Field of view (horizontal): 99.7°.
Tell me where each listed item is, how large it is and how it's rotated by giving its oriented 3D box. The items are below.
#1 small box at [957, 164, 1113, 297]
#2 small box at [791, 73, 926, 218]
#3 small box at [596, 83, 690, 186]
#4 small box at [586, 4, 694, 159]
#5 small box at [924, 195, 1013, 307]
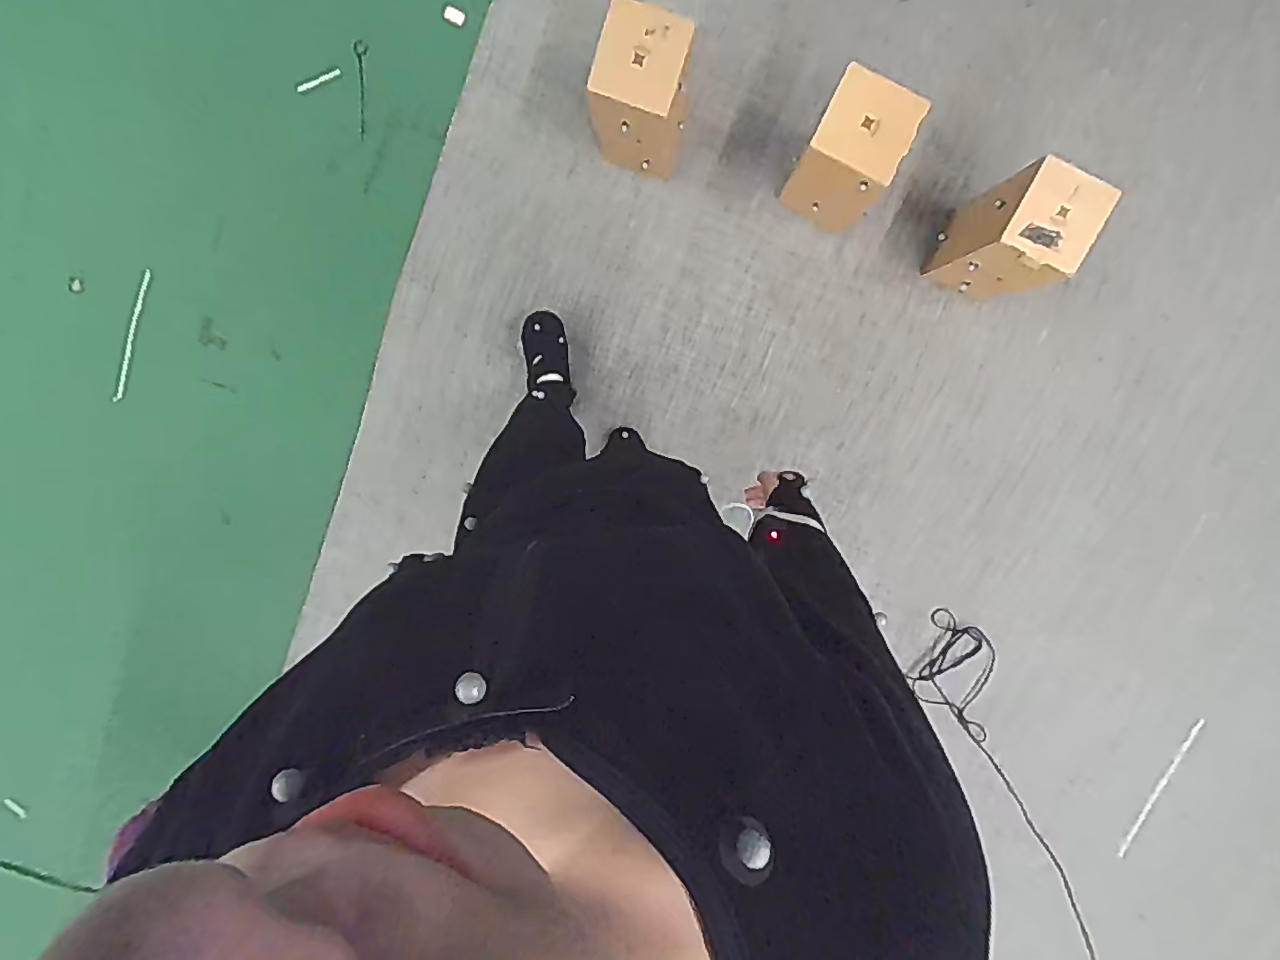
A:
[{"bbox_3d":[0.805,-0.505,1.128,0.168,0.176,0.179,26,98,-2],"label":"small box"},{"bbox_3d":[0.437,-0.675,1.117,0.179,0.176,0.168,26,98,-2],"label":"small box"},{"bbox_3d":[0.010,-0.830,1.275,0.168,0.176,0.179,21,98,-2],"label":"small box"},{"bbox_3d":[0.002,-0.803,1.113,0.168,0.176,0.179,19,99,-2],"label":"small box"},{"bbox_3d":[0.814,-0.534,1.290,0.168,0.176,0.179,24,99,-2],"label":"small box"}]
